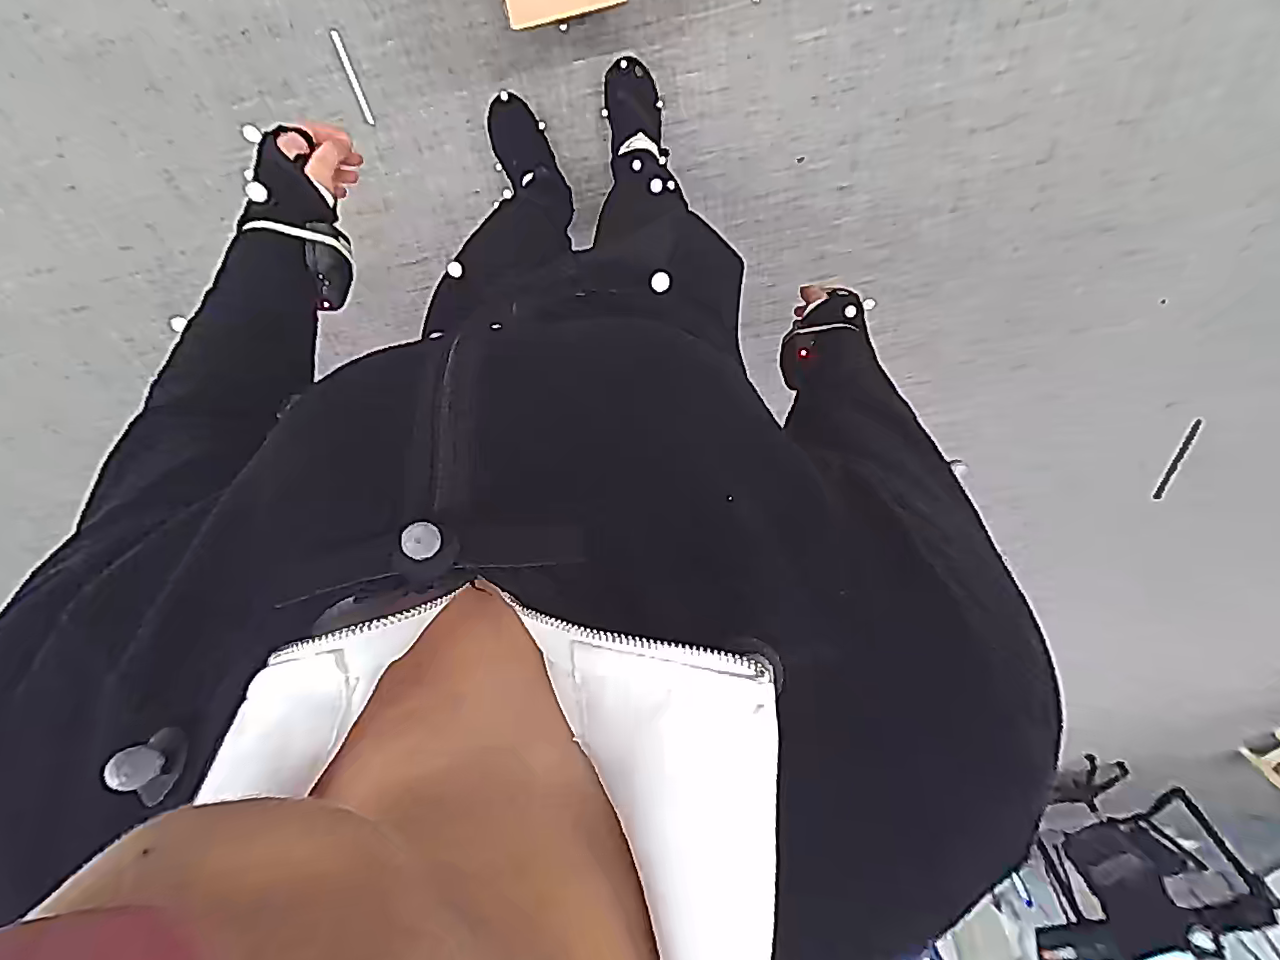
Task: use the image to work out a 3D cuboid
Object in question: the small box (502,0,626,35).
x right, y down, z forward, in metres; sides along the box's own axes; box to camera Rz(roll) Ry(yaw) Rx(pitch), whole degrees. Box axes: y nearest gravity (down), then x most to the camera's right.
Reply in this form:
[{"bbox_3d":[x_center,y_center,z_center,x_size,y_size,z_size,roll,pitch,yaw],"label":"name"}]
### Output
[{"bbox_3d":[-0.124,-0.777,0.796,0.179,0.176,0.168,-11,130,3],"label":"small box"}]
